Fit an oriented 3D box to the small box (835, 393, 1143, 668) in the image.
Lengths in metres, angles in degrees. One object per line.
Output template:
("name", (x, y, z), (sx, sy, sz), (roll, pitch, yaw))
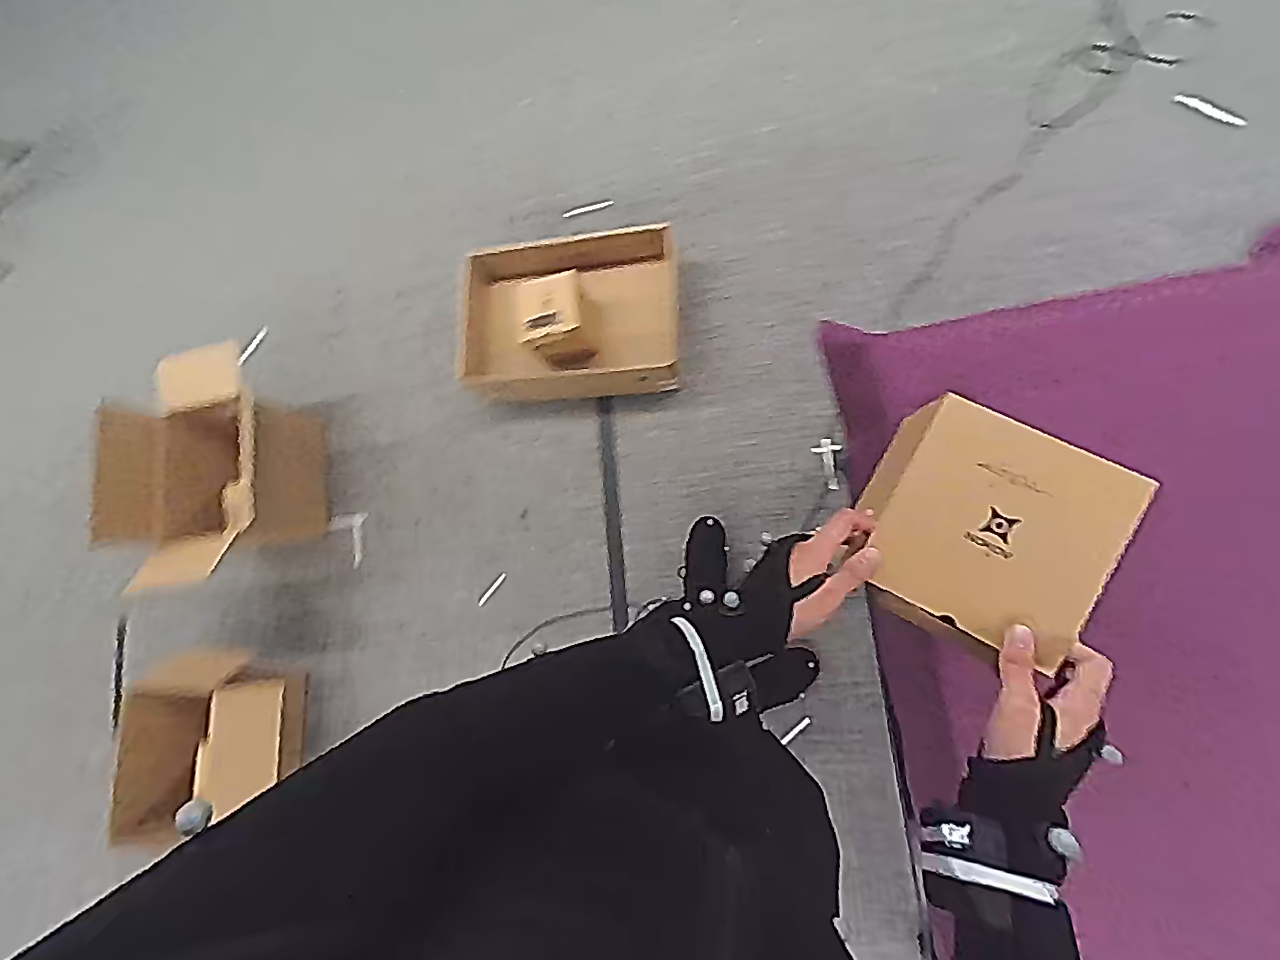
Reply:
("small box", (0.302, 0.041, 0.520), (0.168, 0.176, 0.179), (28, 96, 14))
